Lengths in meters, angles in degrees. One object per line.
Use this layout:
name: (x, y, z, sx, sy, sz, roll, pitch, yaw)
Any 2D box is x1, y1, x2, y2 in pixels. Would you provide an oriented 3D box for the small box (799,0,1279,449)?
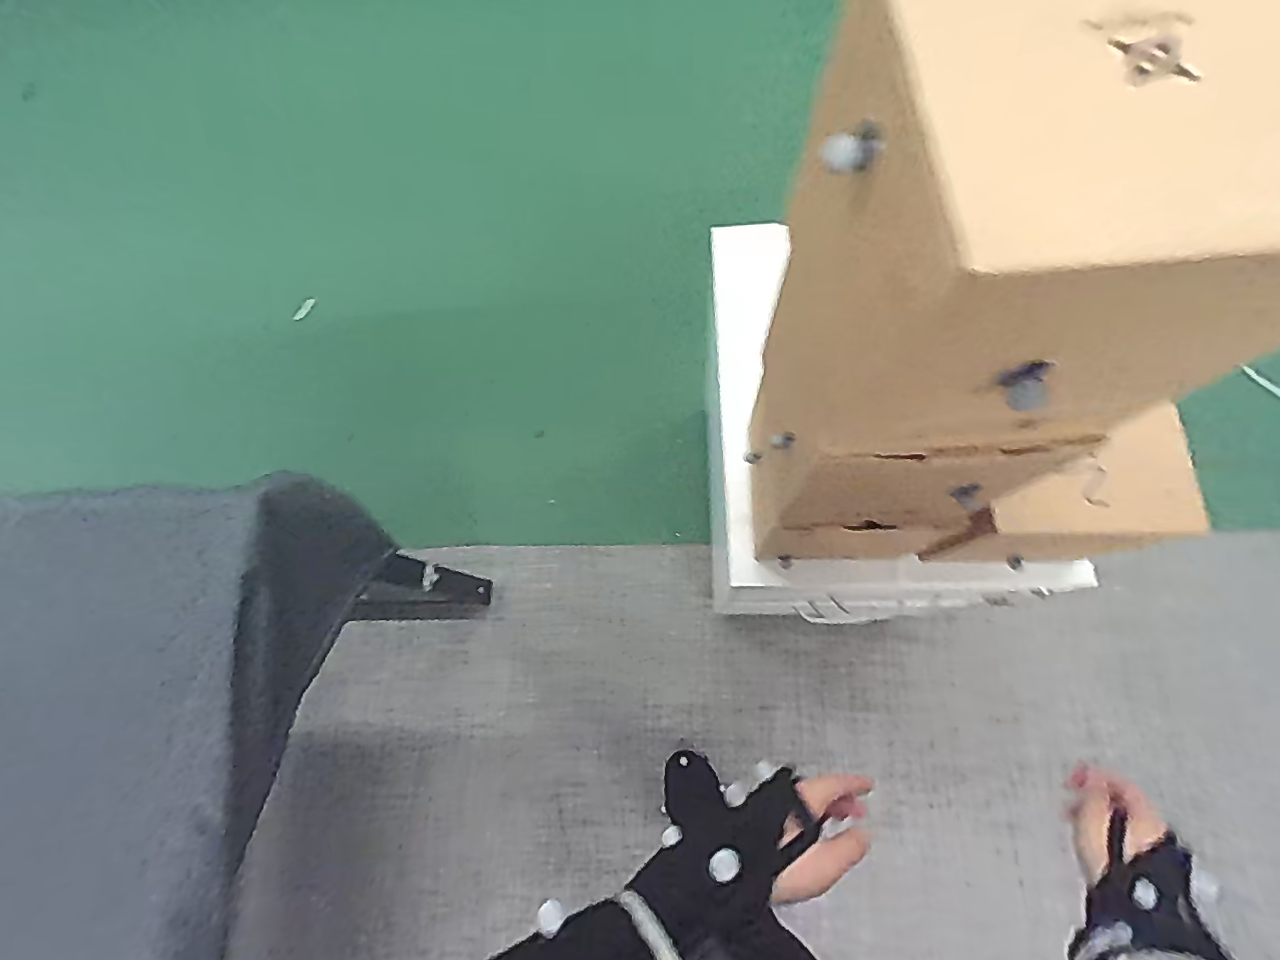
small box: (0.186, -0.121, 0.266, 0.168, 0.176, 0.179, -3, 71, 2)

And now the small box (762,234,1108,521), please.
small box: (0.195, -0.068, 0.420, 0.168, 0.176, 0.179, -2, 71, 2)

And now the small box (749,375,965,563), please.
small box: (0.208, -0.010, 0.571, 0.168, 0.176, 0.179, 0, 72, 4)
